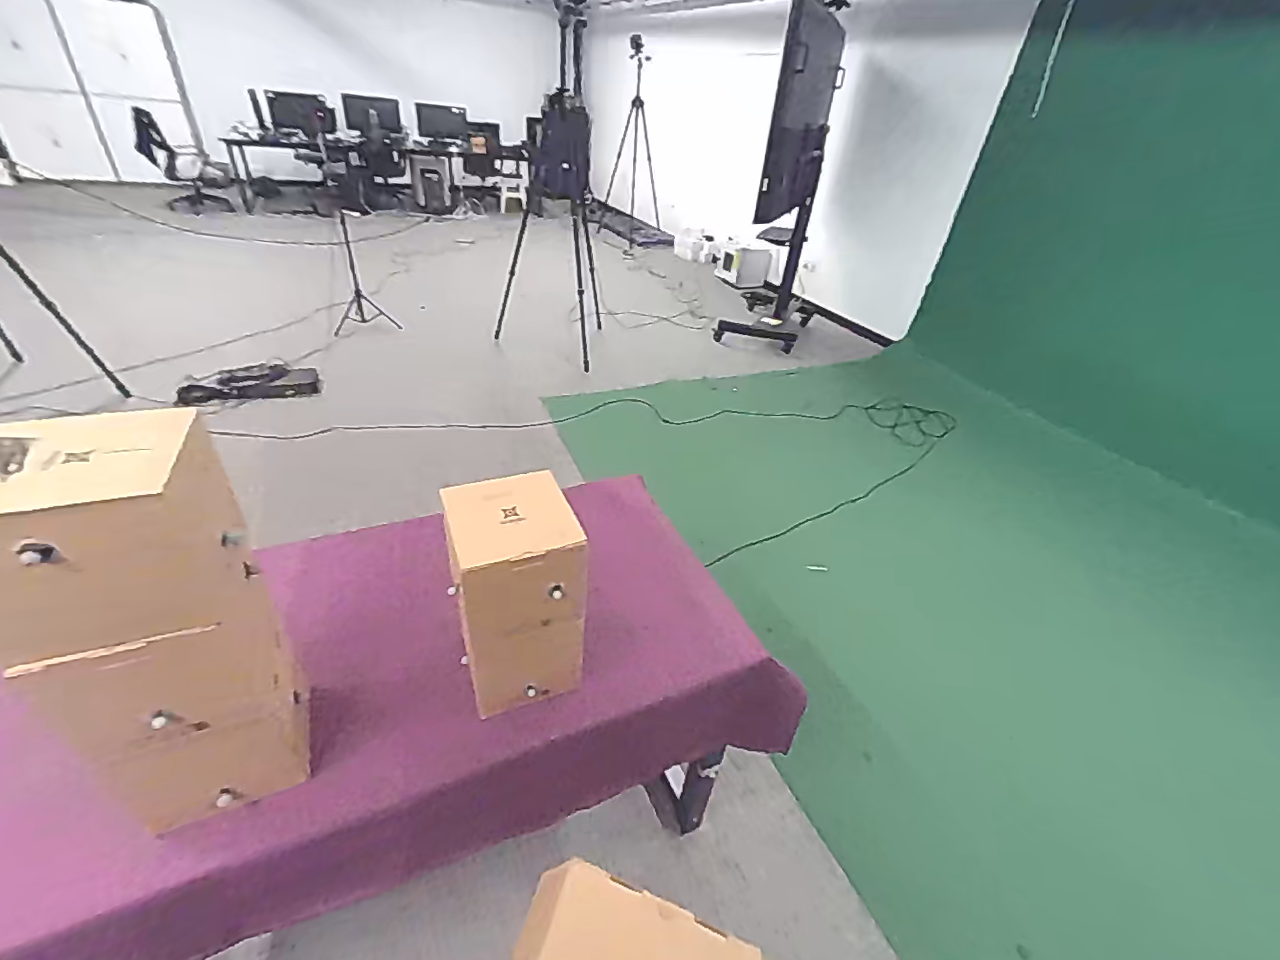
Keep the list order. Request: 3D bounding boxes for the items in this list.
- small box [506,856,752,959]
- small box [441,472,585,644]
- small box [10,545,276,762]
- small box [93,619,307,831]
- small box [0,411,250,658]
[{"bbox_3d":[-0.033,0.439,0.429,0.168,0.176,0.179,25,47,0],"label":"small box"},{"bbox_3d":[-0.185,0.115,0.791,0.168,0.176,0.179,-11,39,-23],"label":"small box"},{"bbox_3d":[-0.547,0.184,0.632,0.168,0.176,0.179,-12,39,-23],"label":"small box"},{"bbox_3d":[-0.561,0.322,0.724,0.179,0.176,0.168,-12,39,-25],"label":"small box"},{"bbox_3d":[-0.528,0.049,0.540,0.179,0.176,0.168,-9,38,-23],"label":"small box"}]
